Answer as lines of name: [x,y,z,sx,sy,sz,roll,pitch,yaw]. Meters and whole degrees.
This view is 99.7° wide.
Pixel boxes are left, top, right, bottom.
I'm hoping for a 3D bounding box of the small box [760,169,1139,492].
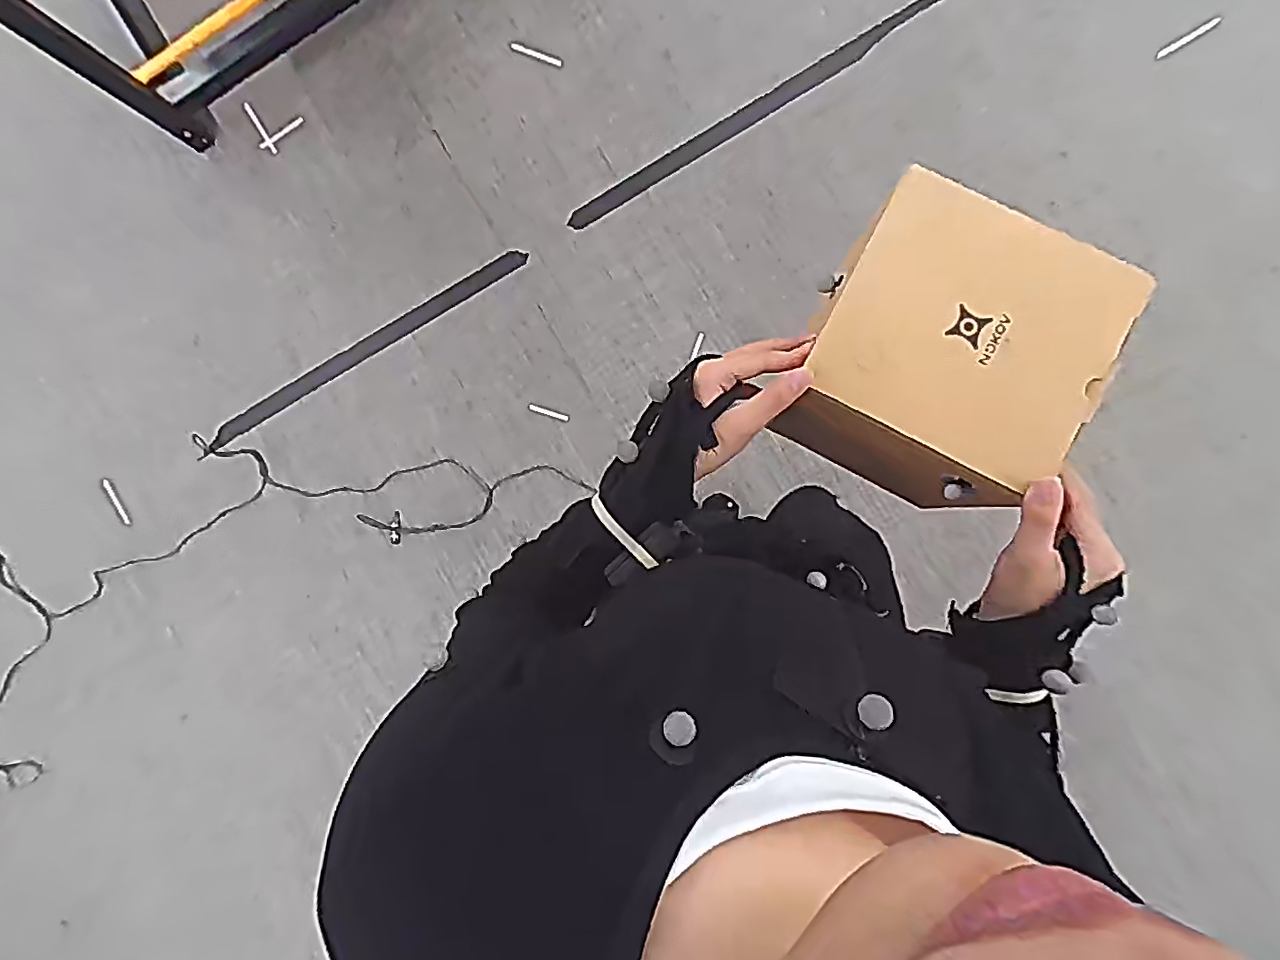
small box: [0.216,-0.096,0.435,0.179,0.176,0.168,28,89,4]
